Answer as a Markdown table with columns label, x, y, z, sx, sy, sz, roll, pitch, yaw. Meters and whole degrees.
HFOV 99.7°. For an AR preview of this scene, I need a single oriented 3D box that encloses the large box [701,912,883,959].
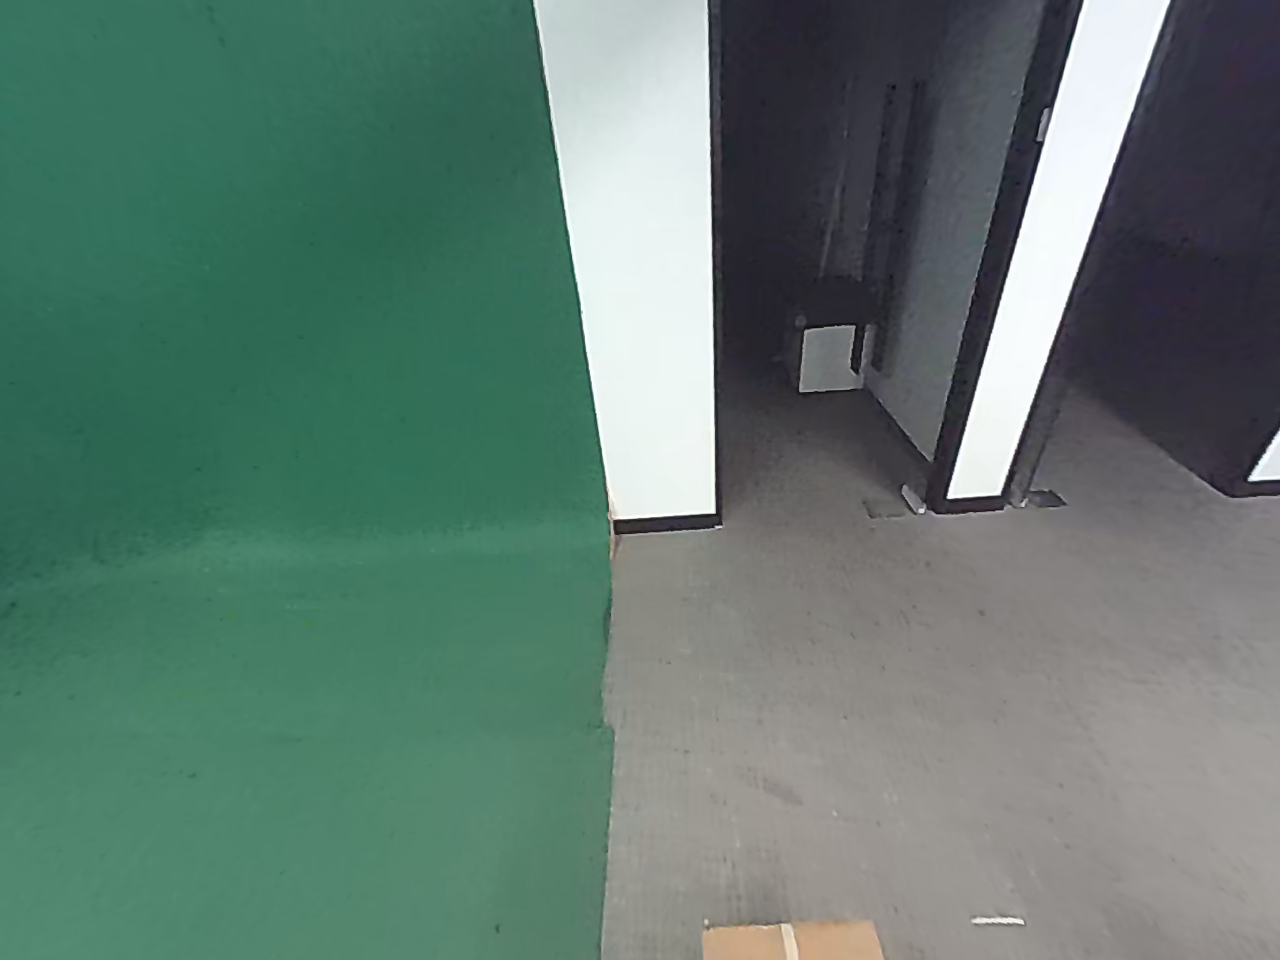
| label | x | y | z | sx | sy | sz | roll | pitch | yaw |
| --- | --- | --- | --- | --- | --- | --- | --- | --- | --- |
| large box | 0.285 | 1.034 | 0.903 | 0.320 | 0.320 | 0.408 | -5 | 33 | 3 |
